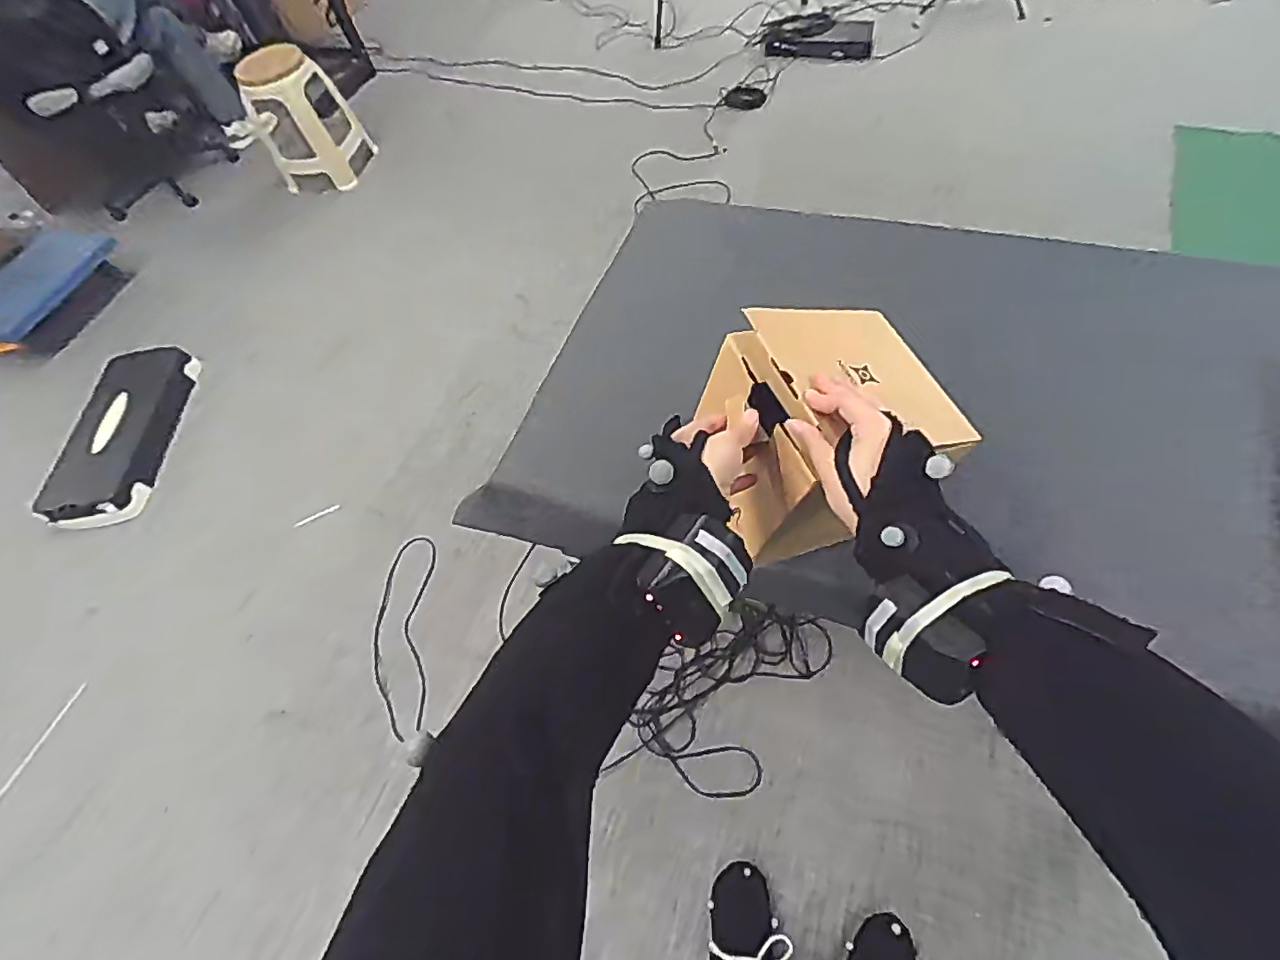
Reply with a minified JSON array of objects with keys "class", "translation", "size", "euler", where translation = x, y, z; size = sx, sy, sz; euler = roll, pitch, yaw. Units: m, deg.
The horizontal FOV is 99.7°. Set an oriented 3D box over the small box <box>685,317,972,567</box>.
[{"class":"small box","translation":[0.166,-0.035,0.537],"size":[0.179,0.176,0.168],"euler":[-12,60,-18]}]
